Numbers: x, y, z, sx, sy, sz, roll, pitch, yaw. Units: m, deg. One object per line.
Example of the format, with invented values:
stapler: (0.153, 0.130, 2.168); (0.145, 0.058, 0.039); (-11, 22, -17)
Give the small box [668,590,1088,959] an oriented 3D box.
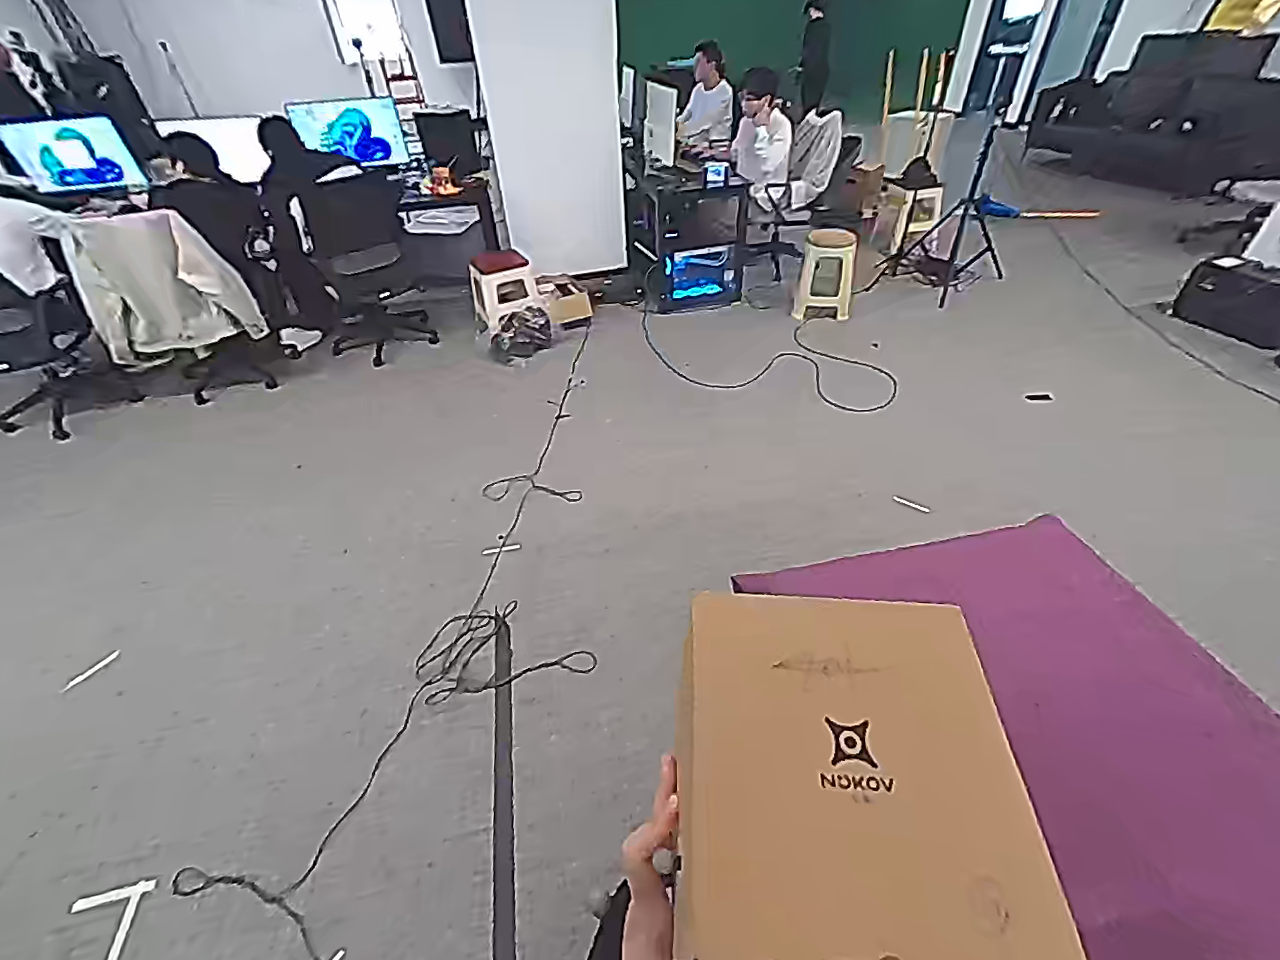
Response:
small box: (0.106, 0.189, 0.335); (0.168, 0.176, 0.179); (3, 48, 0)
